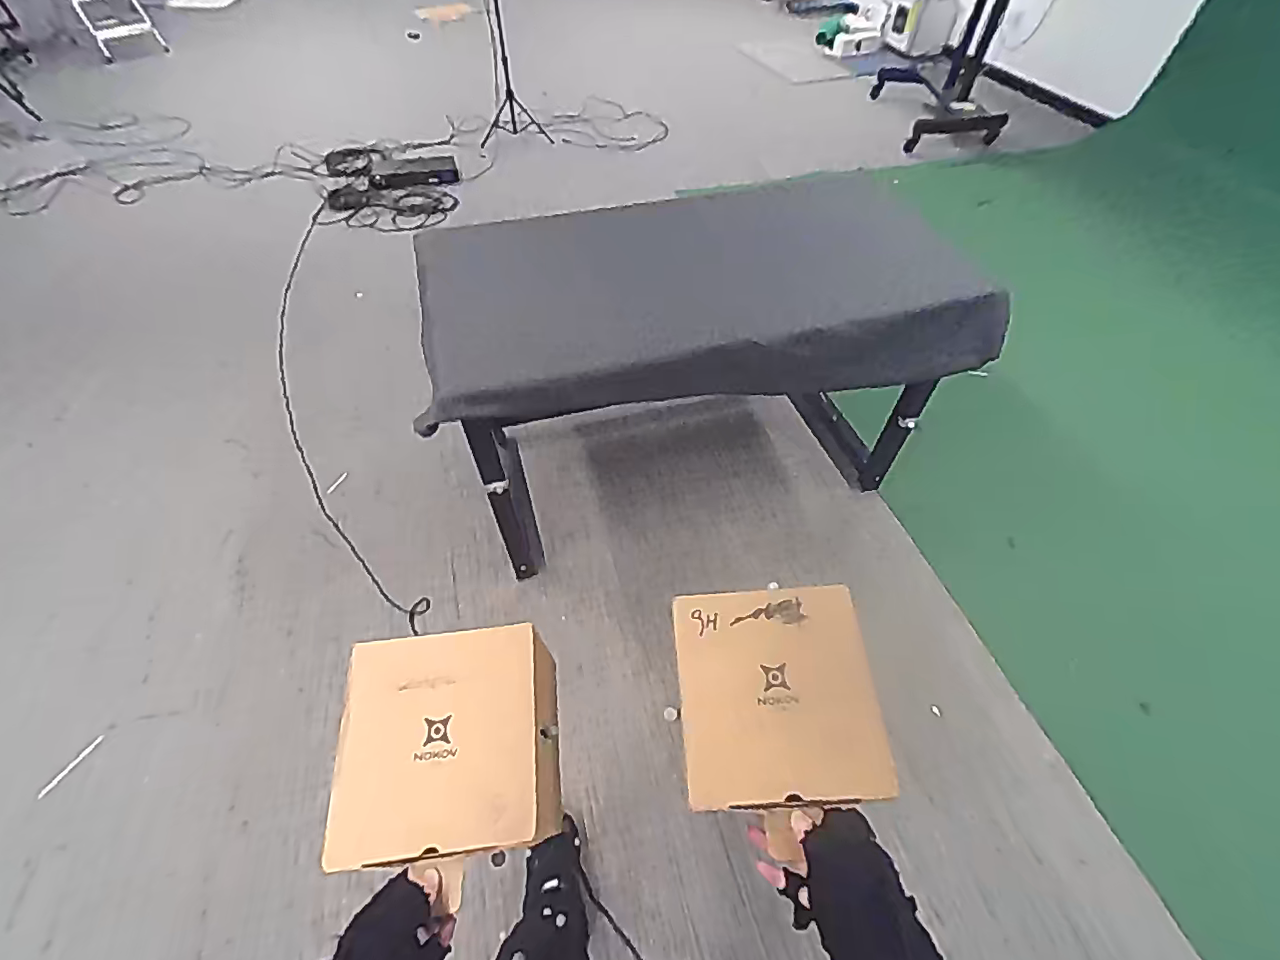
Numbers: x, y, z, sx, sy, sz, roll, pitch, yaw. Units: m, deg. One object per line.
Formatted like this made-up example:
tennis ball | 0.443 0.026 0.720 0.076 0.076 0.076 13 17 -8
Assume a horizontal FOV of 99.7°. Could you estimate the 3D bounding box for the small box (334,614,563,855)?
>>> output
small box | -0.170 0.250 0.537 0.168 0.176 0.179 -6 59 -5
